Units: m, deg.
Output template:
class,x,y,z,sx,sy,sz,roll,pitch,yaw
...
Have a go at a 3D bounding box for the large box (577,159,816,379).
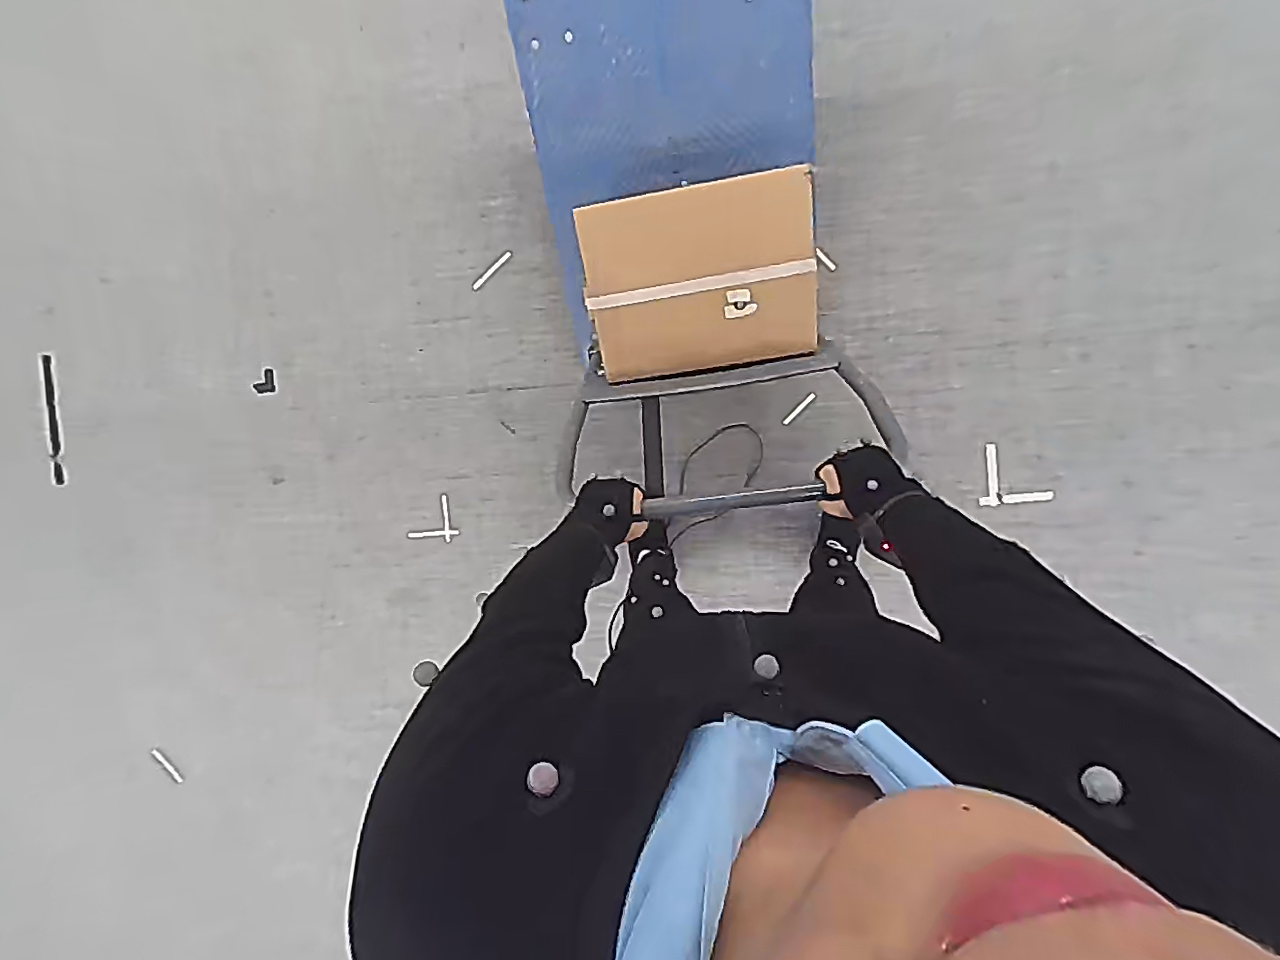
class,x,y,z,sx,sy,sz,roll,pitch,yaw
large box,0.115,-0.428,1.117,0.408,0.320,0.320,-9,116,6
